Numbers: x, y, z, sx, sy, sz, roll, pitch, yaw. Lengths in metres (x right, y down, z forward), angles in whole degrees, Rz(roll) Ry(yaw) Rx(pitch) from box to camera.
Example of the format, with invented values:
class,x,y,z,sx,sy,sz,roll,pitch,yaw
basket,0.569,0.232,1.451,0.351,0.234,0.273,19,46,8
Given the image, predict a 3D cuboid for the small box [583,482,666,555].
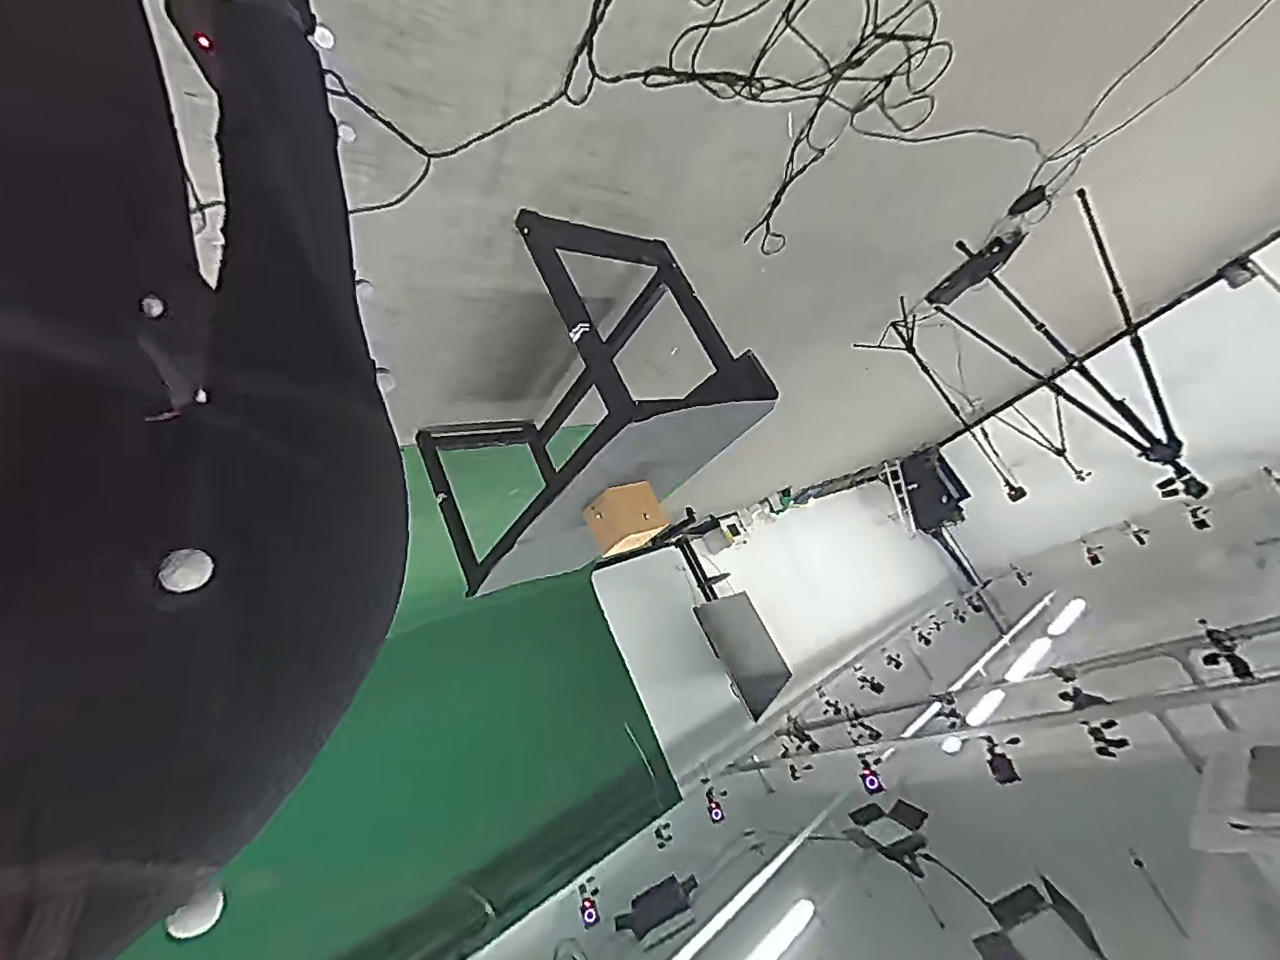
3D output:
class,x,y,z,sx,sy,sz,roll,pitch,yaw
small box,-0.054,0.119,1.746,0.179,0.176,0.168,-10,157,-42
